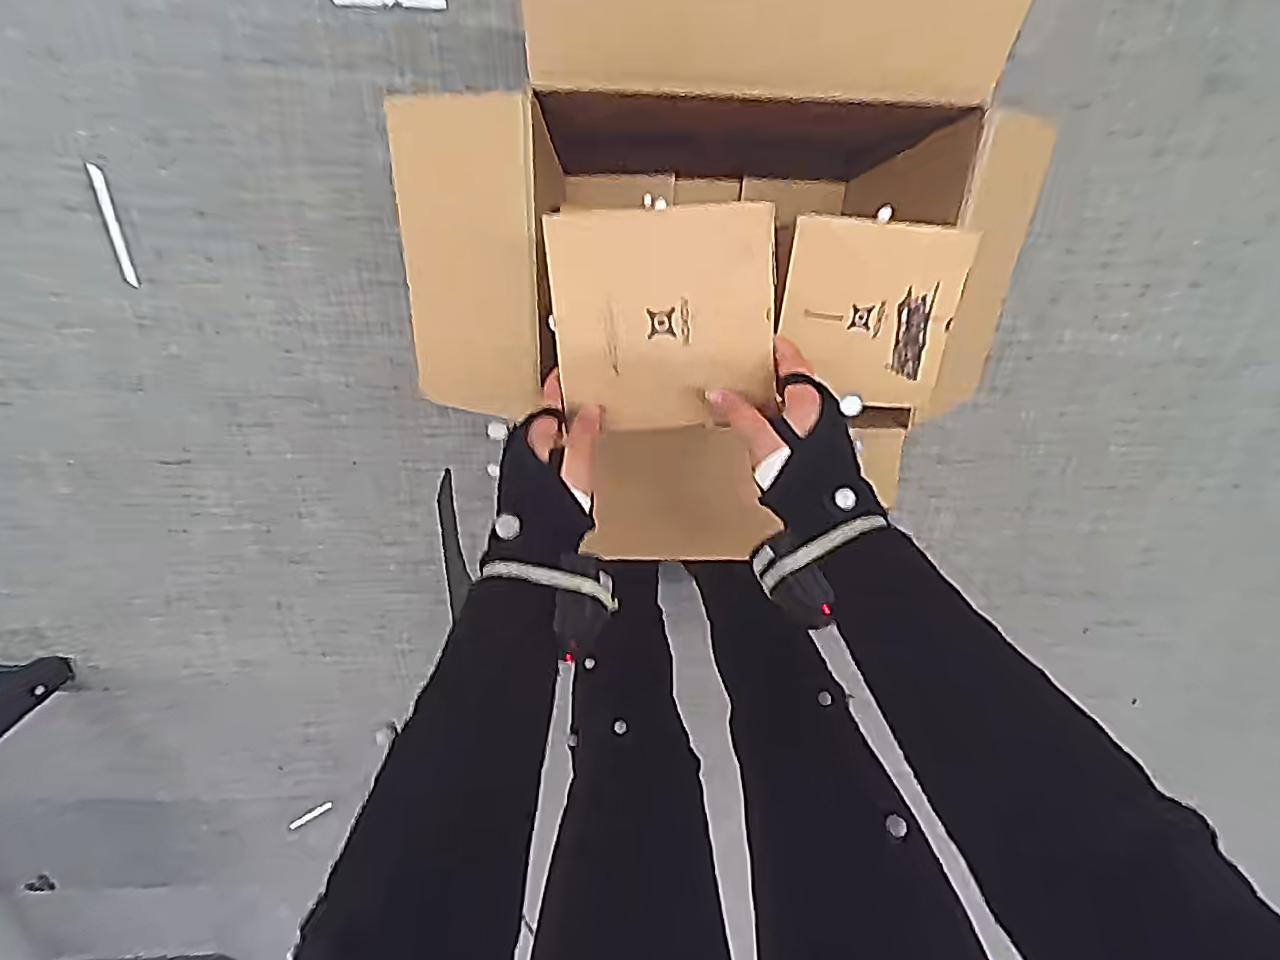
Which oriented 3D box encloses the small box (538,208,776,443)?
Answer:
[{"bbox_3d":[0.014,-0.134,0.493,0.179,0.176,0.168,-5,103,0],"label":"small box"}]
